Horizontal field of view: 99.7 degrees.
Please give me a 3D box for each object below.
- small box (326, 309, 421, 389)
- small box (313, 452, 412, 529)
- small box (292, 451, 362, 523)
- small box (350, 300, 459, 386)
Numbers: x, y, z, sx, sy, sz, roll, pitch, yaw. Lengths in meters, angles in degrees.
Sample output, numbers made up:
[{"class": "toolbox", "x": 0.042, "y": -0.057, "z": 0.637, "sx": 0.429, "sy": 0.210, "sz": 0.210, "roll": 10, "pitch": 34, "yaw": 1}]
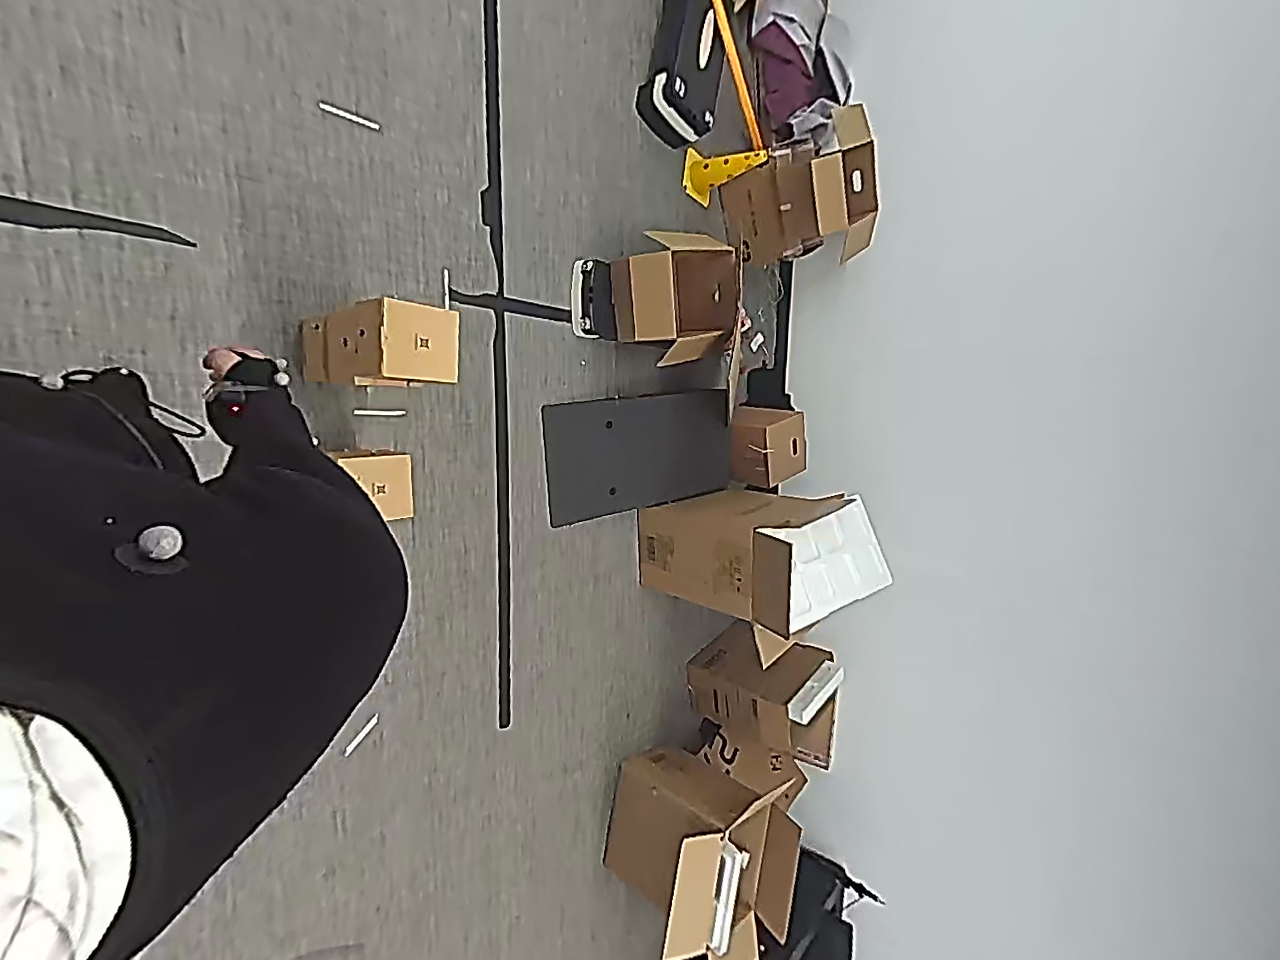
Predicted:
[{"class": "small box", "x": -0.664, "y": -0.319, "z": 1.345, "sx": 0.168, "sy": 0.176, "sz": 0.179, "roll": -7, "pitch": 103, "yaw": -47}, {"class": "small box", "x": -0.702, "y": 0.019, "z": 1.369, "sx": 0.179, "sy": 0.176, "sz": 0.168, "roll": -8, "pitch": 102, "yaw": -47}, {"class": "small box", "x": -0.825, "y": 0.012, "z": 1.479, "sx": 0.179, "sy": 0.176, "sz": 0.168, "roll": -10, "pitch": 103, "yaw": -46}, {"class": "small box", "x": -0.540, "y": -0.309, "z": 1.241, "sx": 0.179, "sy": 0.176, "sz": 0.168, "roll": -4, "pitch": 101, "yaw": -47}]
